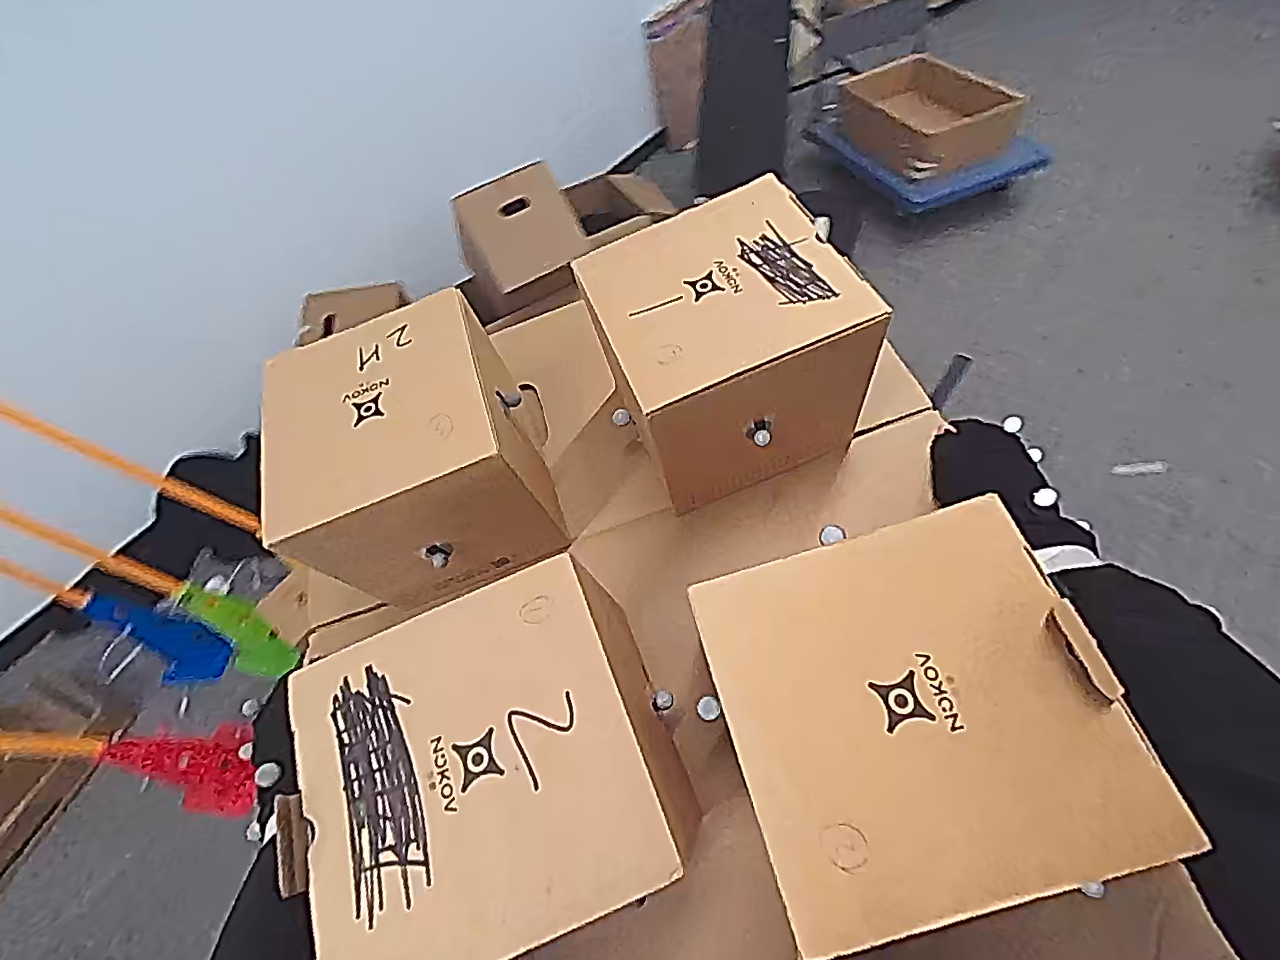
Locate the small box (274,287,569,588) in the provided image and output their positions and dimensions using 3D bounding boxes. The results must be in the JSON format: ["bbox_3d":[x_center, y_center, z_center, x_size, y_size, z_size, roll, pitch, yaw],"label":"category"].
[{"bbox_3d":[-0.174,-0.021,0.465,0.168,0.176,0.179,-21,61,0],"label":"small box"}]
